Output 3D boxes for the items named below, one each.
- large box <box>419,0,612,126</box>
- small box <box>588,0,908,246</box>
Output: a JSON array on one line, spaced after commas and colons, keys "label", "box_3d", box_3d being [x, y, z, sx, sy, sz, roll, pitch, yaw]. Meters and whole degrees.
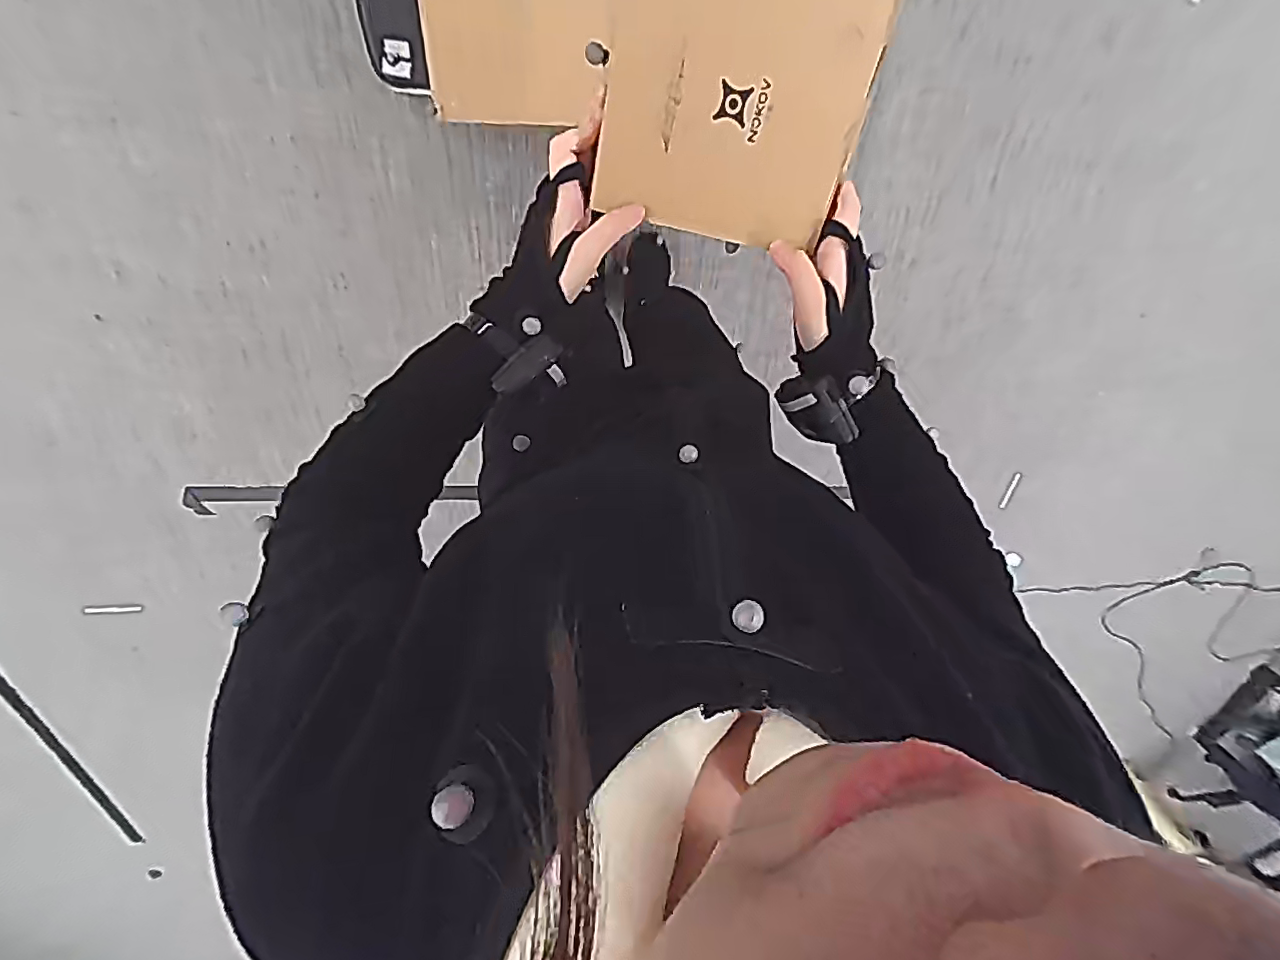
[{"label": "large box", "box_3d": [-0.082, -0.692, 0.770, 0.408, 0.320, 0.320, -2, 122, -6]}, {"label": "small box", "box_3d": [0.060, -0.300, 0.419, 0.179, 0.176, 0.168, 8, 121, -11]}]
